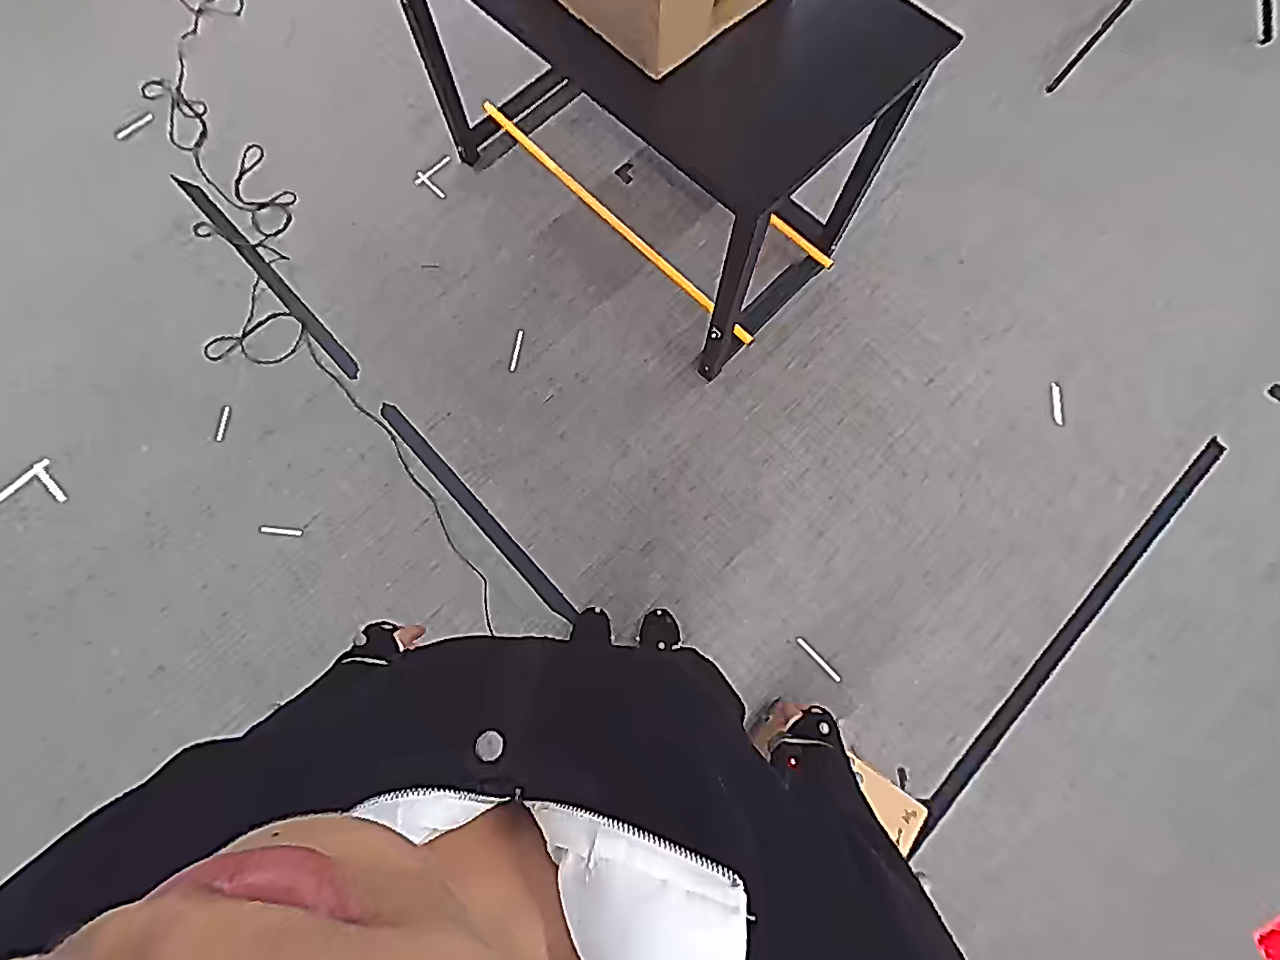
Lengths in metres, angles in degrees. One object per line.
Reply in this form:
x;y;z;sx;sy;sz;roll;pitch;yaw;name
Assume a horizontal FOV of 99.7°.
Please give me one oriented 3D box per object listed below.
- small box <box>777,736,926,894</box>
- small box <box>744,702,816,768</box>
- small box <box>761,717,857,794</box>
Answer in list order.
0.382;0.607;1.012;0.179;0.176;0.168;35;77;8;small box
0.383;0.673;1.335;0.179;0.176;0.168;41;78;11;small box
0.391;0.643;1.172;0.179;0.176;0.168;37;77;9;small box
